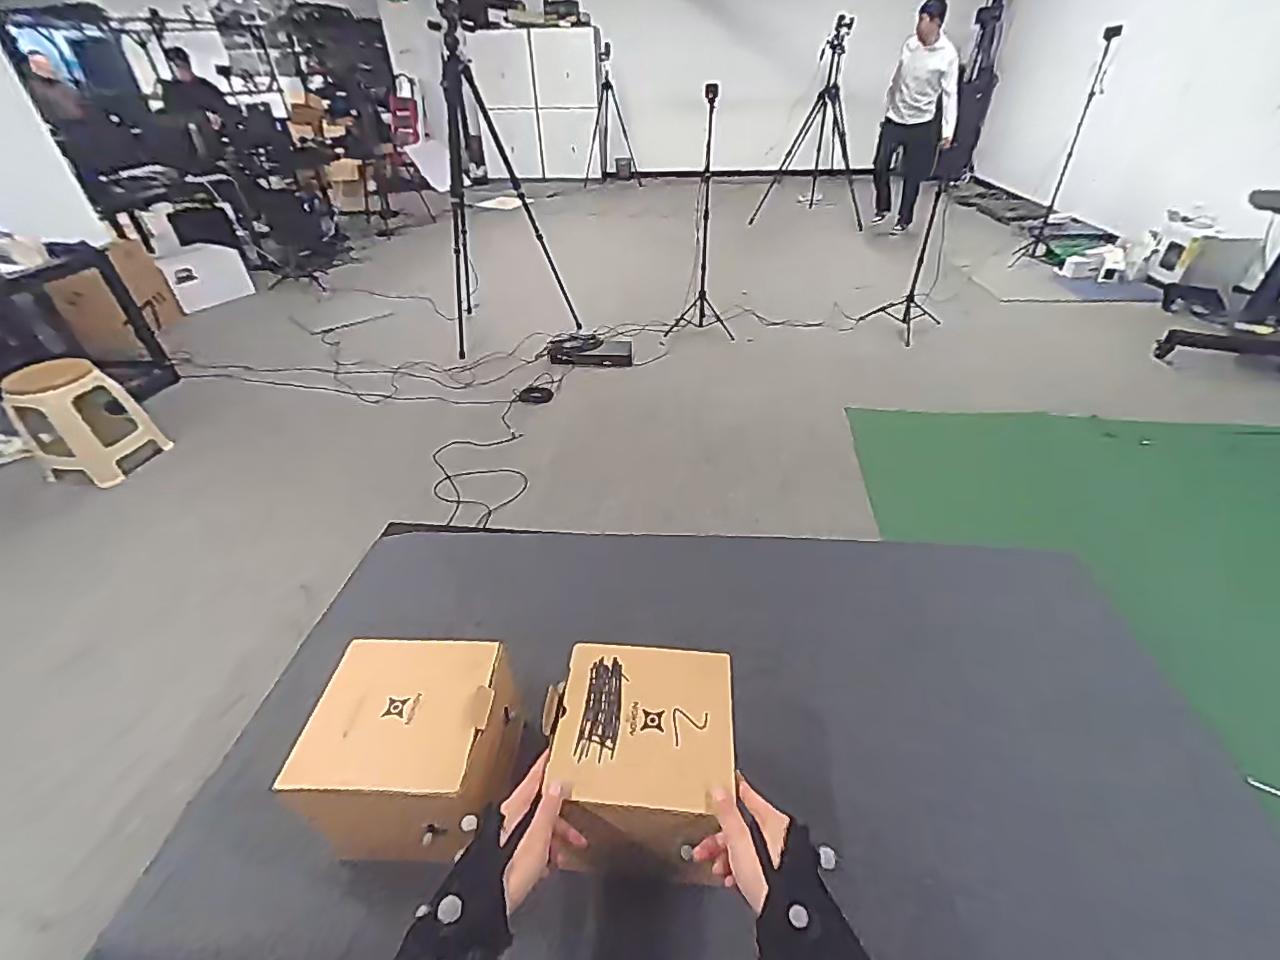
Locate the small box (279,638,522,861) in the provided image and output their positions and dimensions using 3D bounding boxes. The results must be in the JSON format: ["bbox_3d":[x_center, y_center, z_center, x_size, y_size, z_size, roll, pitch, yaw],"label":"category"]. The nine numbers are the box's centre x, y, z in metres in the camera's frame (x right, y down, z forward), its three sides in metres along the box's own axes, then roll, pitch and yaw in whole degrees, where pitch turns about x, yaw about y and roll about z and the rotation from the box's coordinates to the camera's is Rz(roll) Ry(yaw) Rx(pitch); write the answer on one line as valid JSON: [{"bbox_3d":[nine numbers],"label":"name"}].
[{"bbox_3d":[-0.237,0.294,0.595,0.179,0.176,0.168,-1,36,2],"label":"small box"}]
